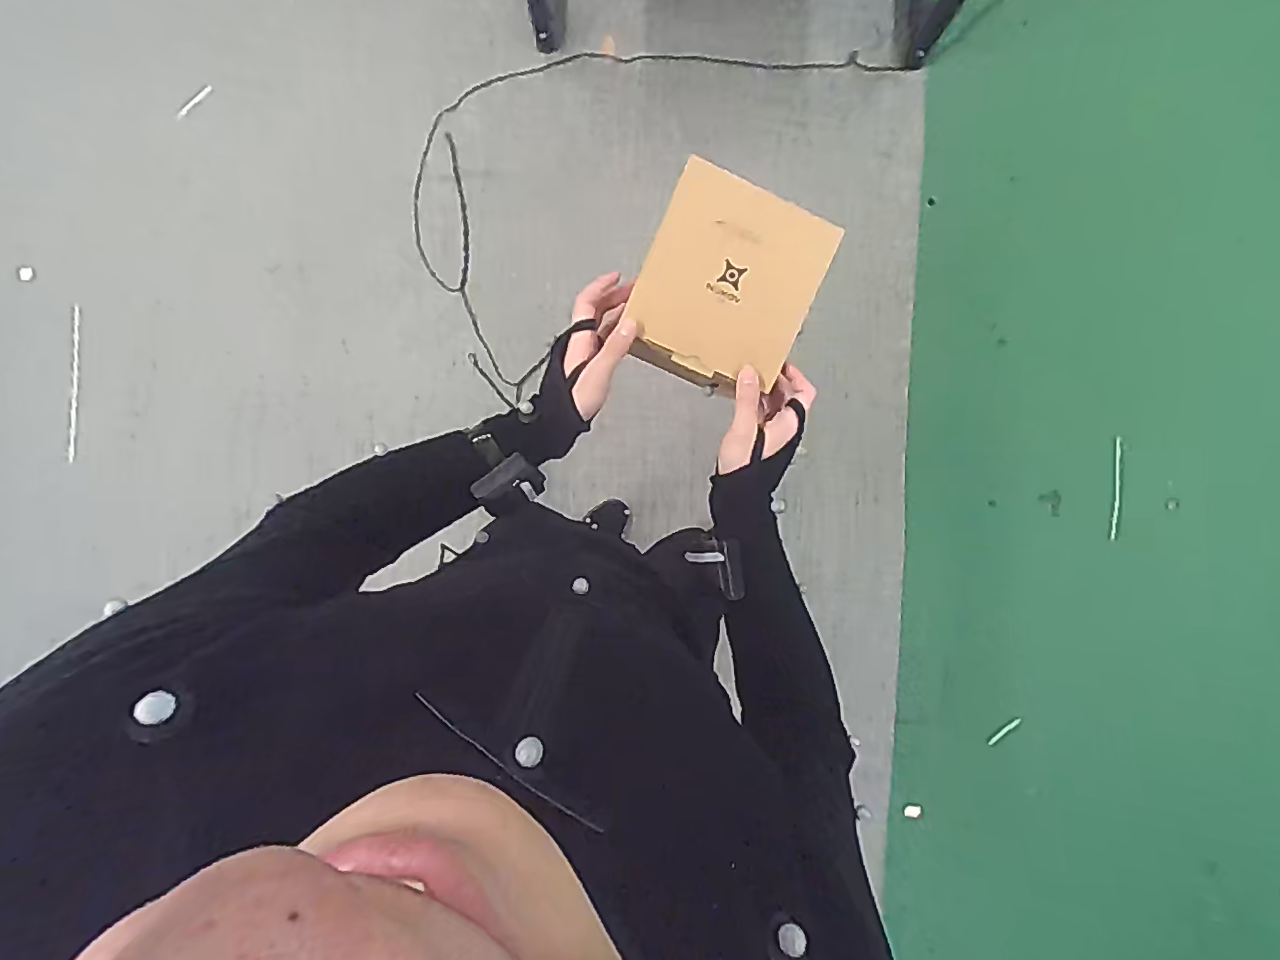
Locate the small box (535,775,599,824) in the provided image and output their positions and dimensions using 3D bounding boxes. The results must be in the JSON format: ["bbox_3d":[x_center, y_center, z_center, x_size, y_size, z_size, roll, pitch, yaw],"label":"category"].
[{"bbox_3d":[-0.205,0.944,1.490,0.168,0.176,0.179,7,90,-1],"label":"small box"}]

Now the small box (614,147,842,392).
[{"bbox_3d":[0.081,-0.205,0.590,0.168,0.176,0.179,24,95,-6],"label":"small box"}]

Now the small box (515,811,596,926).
[{"bbox_3d":[-0.200,0.943,1.325,0.179,0.176,0.168,2,89,-1],"label":"small box"}]
